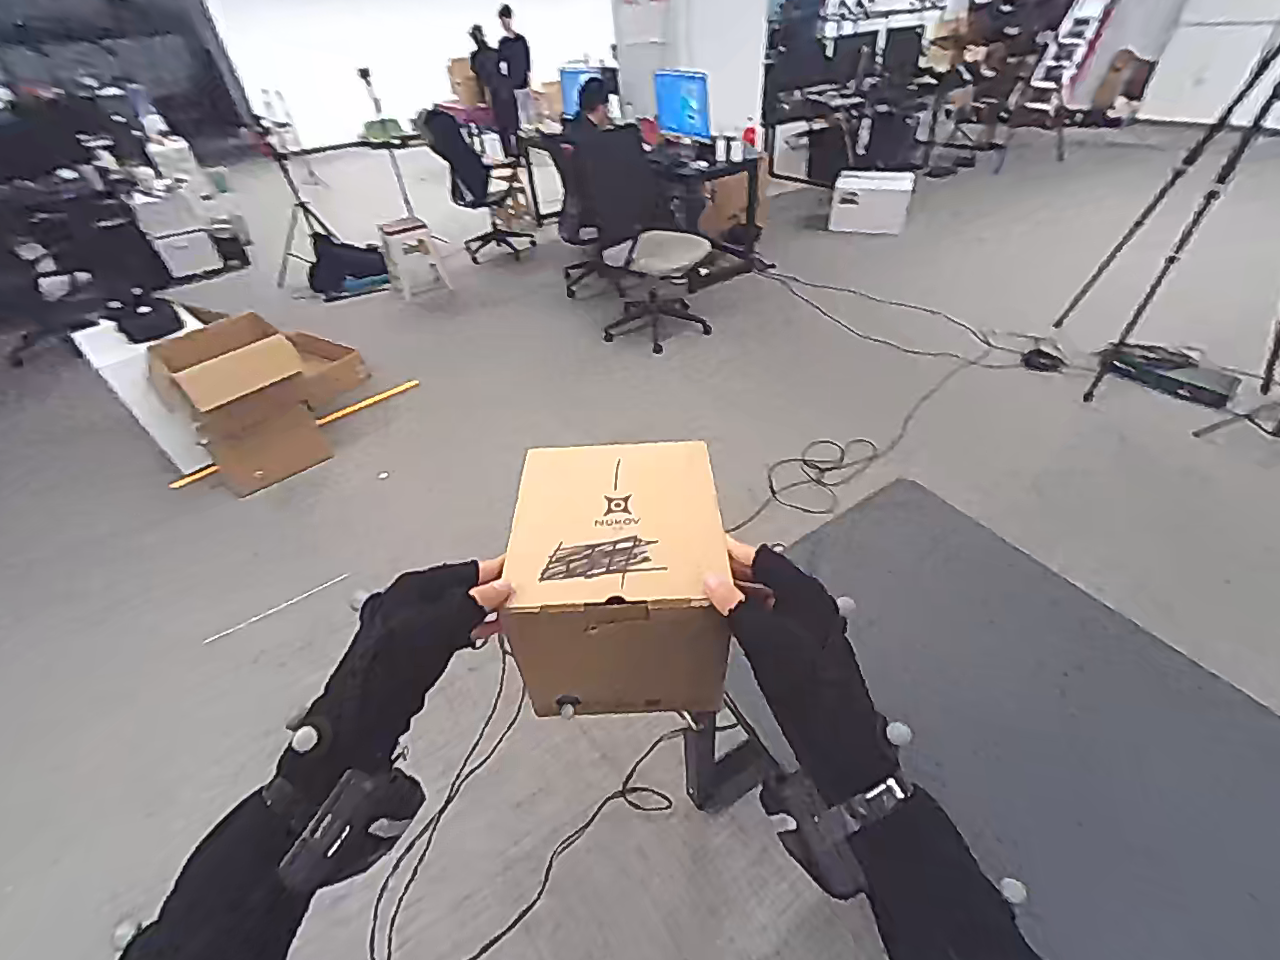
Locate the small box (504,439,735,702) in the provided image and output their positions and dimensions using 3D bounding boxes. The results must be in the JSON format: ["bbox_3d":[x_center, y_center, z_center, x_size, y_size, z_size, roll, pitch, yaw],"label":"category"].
[{"bbox_3d":[-0.011,0.084,0.486,0.168,0.176,0.179,-2,42,1],"label":"small box"}]
